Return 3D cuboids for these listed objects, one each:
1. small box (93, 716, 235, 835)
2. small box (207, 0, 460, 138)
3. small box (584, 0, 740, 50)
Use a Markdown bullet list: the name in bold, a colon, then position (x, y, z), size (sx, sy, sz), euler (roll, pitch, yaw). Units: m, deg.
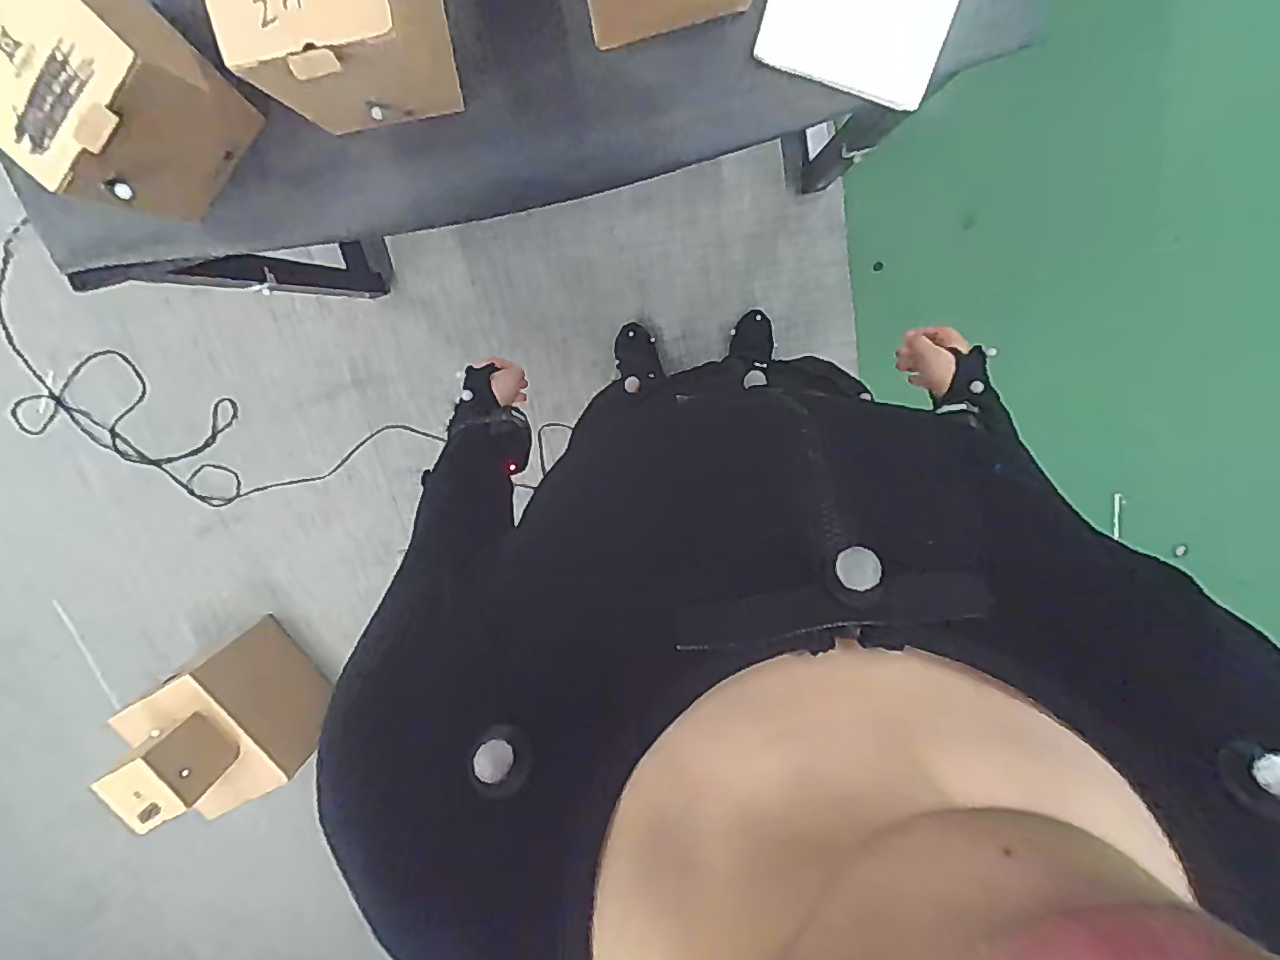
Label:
- **small box**: position (-1.197, 0.746, 1.378), size (0.168, 0.176, 0.179), euler (-28, 102, 8)
- **small box**: position (-0.305, -0.484, 0.548), size (0.168, 0.176, 0.179), euler (-7, 104, 6)
- **small box**: position (0.016, -0.558, 0.511), size (0.179, 0.176, 0.168), euler (-11, 104, 7)
